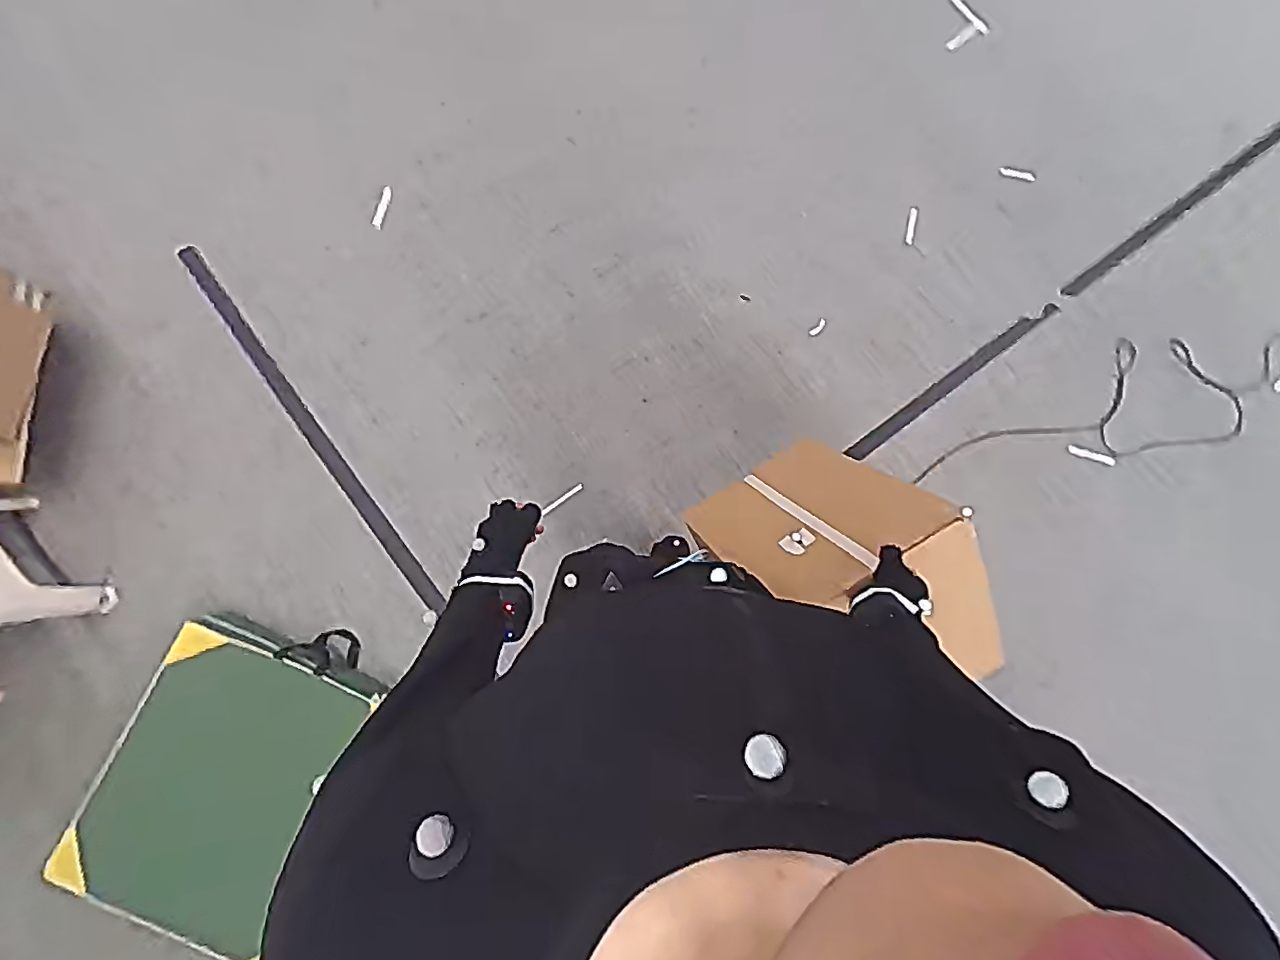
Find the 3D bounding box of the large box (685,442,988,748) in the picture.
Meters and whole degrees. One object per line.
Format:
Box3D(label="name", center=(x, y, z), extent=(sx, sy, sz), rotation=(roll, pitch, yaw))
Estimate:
Box3D(label="large box", center=(0.336, 0.180, 0.996), extent=(0.320, 0.408, 0.320), rotation=(-30, 116, -4))
